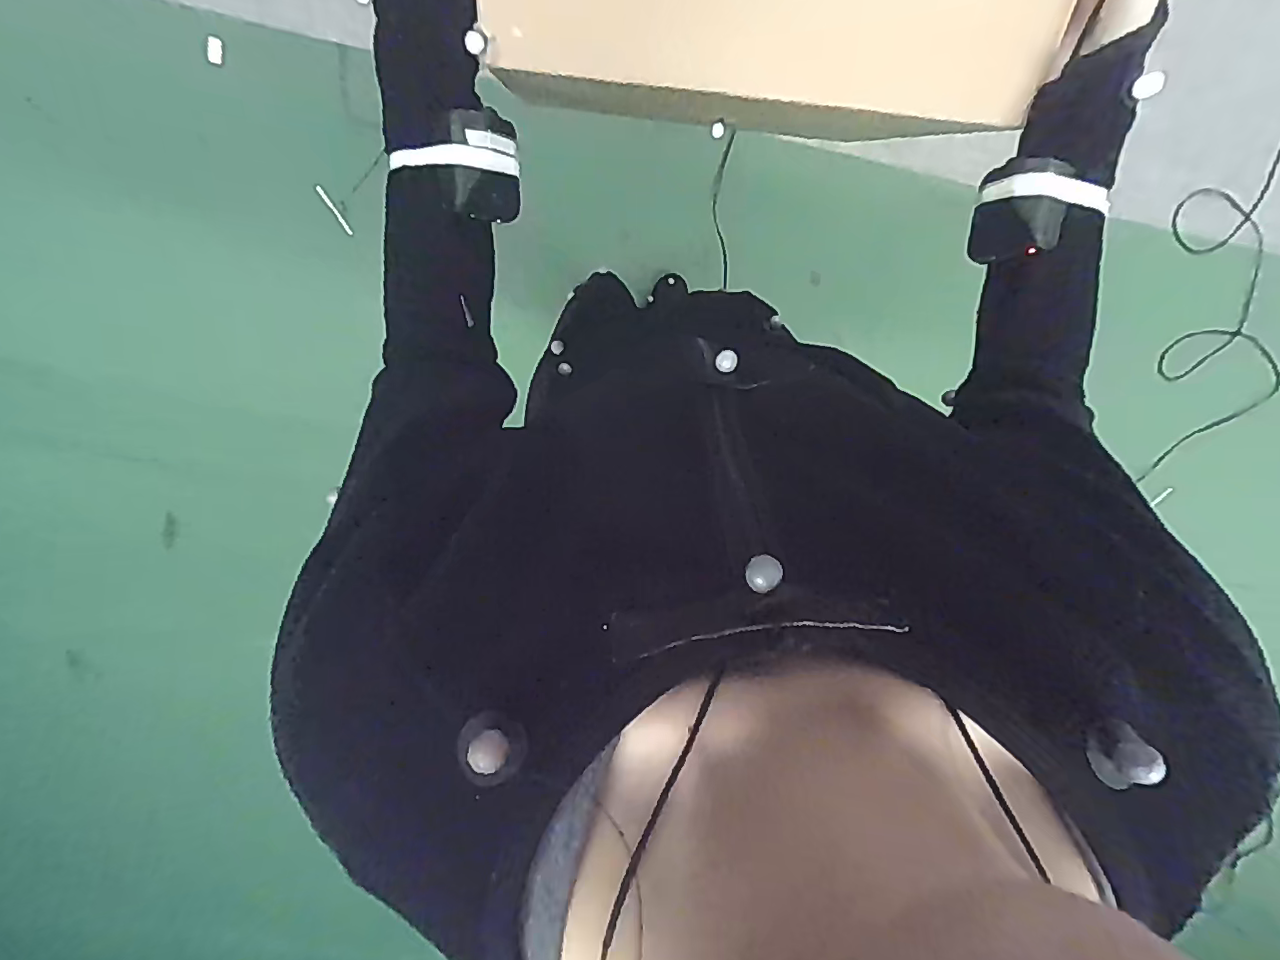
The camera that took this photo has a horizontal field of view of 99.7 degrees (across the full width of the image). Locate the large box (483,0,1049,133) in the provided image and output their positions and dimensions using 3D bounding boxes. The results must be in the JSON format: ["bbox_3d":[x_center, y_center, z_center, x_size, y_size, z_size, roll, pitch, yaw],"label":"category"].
[{"bbox_3d":[0.090,-0.488,0.453,0.408,0.320,0.320,2,120,-6],"label":"large box"}]
